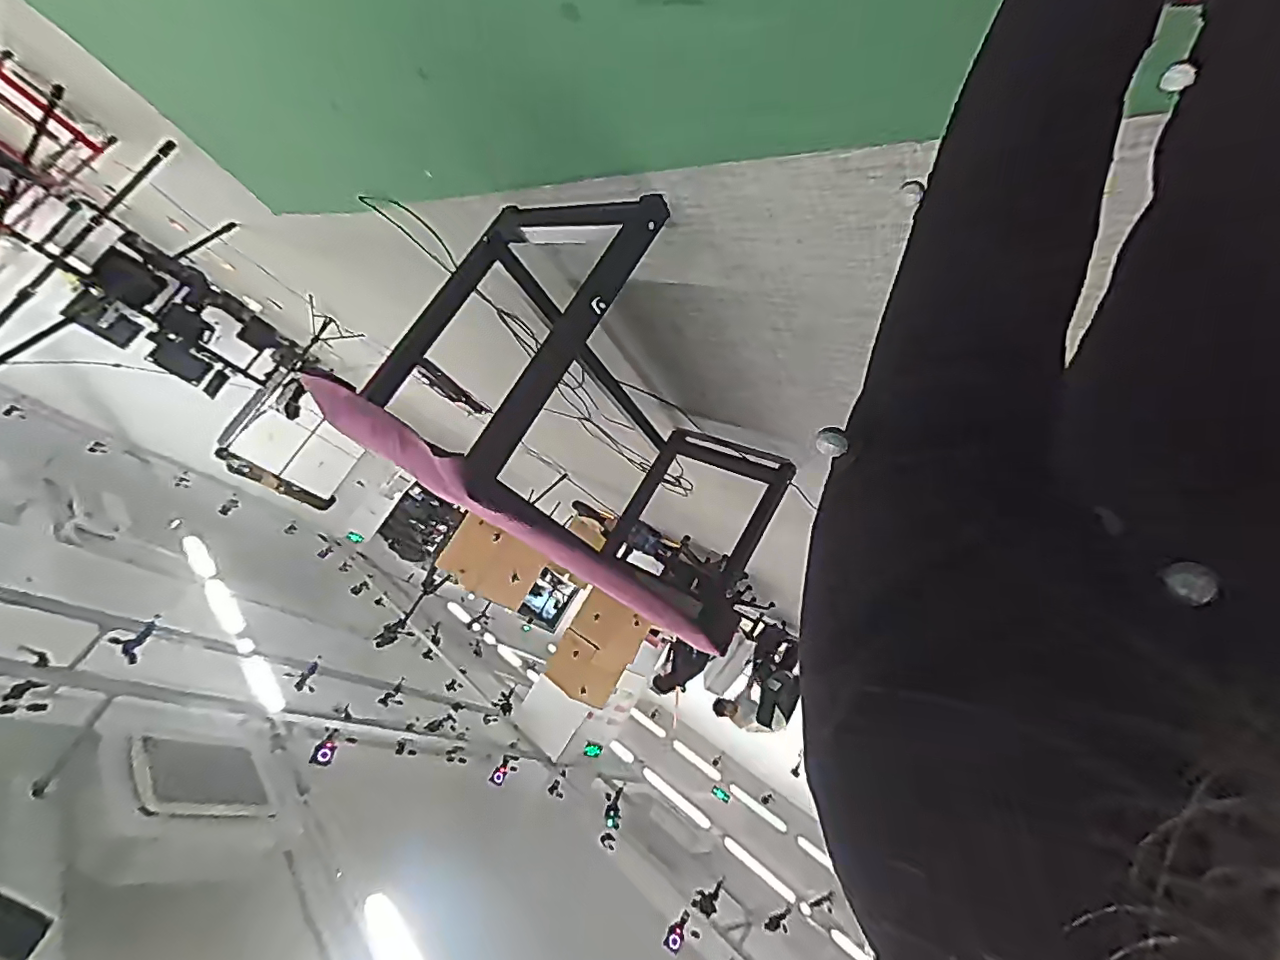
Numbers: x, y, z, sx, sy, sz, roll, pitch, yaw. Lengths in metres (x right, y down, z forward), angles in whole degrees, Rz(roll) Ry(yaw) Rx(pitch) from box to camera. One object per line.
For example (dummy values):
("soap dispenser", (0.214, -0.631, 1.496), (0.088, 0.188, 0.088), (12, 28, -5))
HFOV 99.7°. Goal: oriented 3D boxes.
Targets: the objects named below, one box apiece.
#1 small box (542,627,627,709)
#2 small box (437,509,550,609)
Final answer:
("small box", (-0.175, 0.608, 1.759), (0.168, 0.176, 0.179), (18, 161, 47))
("small box", (-0.366, 0.197, 1.374), (0.168, 0.176, 0.179), (26, 167, 33))
